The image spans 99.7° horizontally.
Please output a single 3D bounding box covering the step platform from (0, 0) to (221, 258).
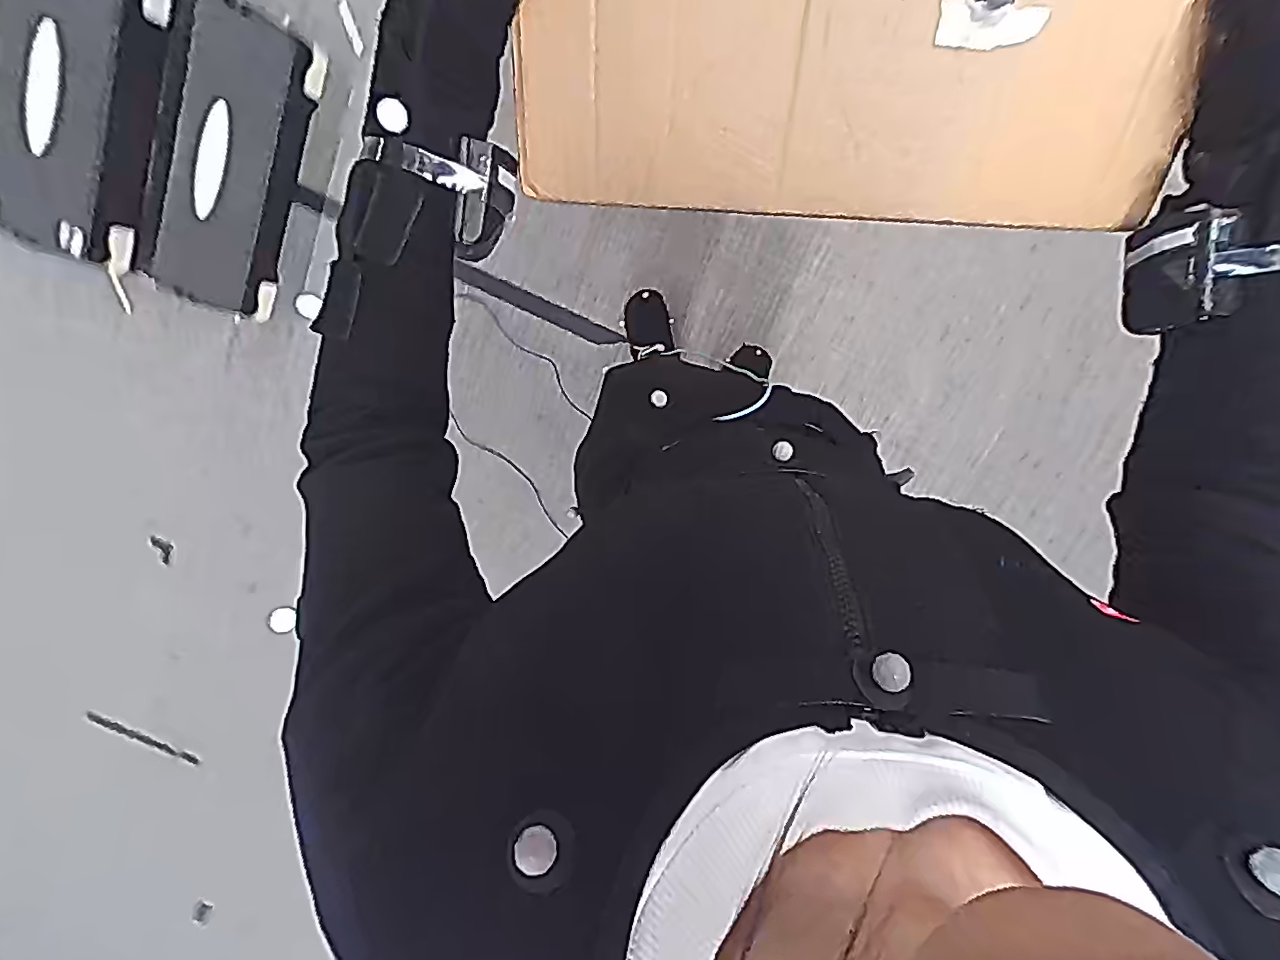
[{"bbox_3d":[-1.222,-0.890,1.238,0.286,0.204,0.684,23,104,-3],"label":"step platform"}]

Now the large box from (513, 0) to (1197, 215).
[{"bbox_3d":[0.124,-0.390,0.424,0.408,0.320,0.320,2,120,1],"label":"large box"}]
